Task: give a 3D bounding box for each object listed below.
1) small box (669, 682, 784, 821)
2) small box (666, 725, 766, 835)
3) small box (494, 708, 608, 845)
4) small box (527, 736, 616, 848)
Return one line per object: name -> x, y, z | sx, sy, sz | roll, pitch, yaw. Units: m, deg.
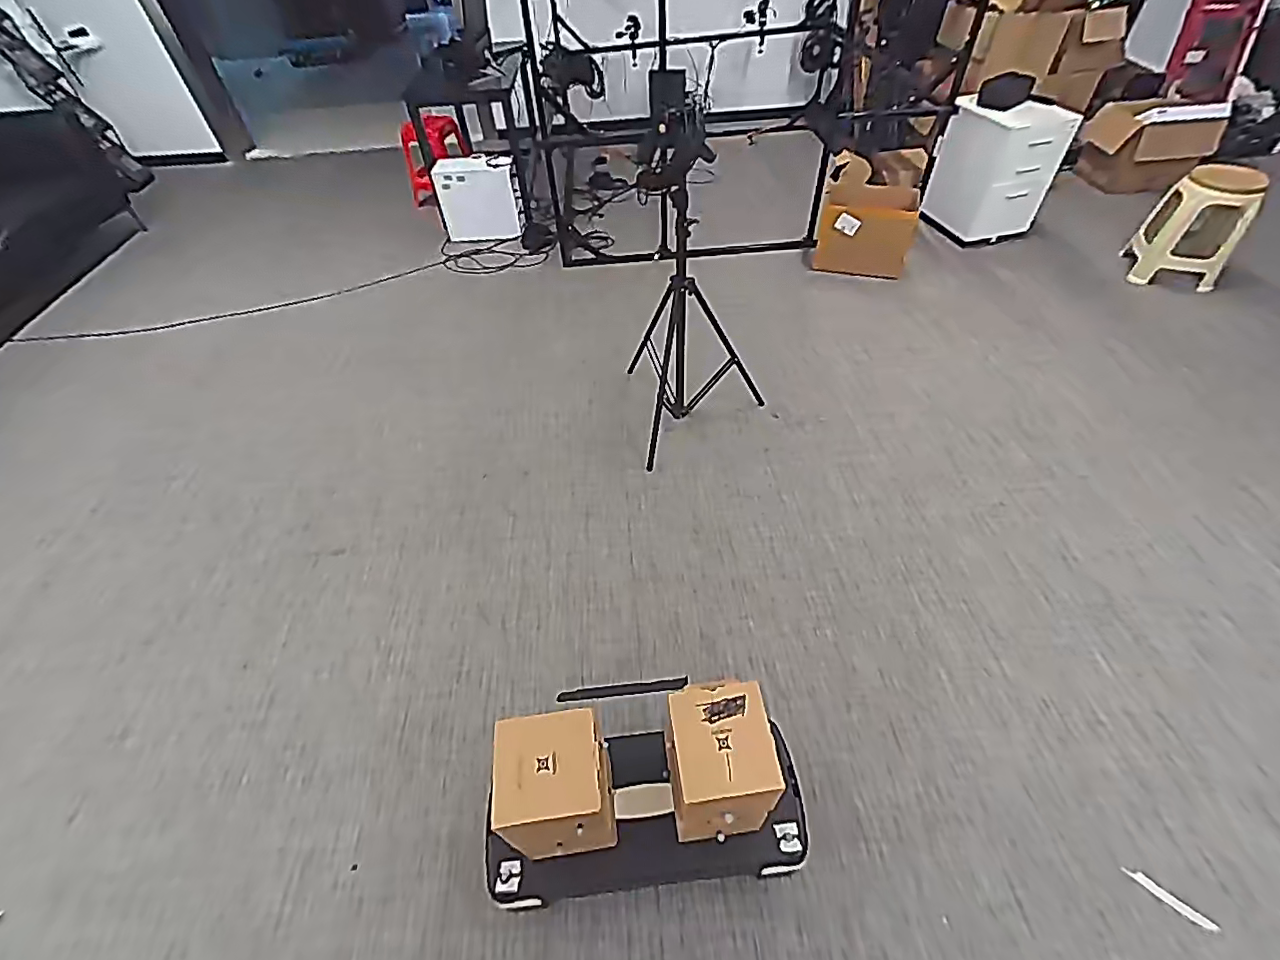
small box -> 0.144, 0.490, 0.975 | 0.168, 0.176, 0.179 | -8, 49, -2
small box -> 0.144, 0.603, 1.095 | 0.168, 0.176, 0.179 | -8, 49, -2
small box -> -0.152, 0.529, 0.962 | 0.179, 0.176, 0.168 | -8, 47, -4
small box -> -0.144, 0.637, 1.085 | 0.179, 0.176, 0.168 | -8, 48, -3
